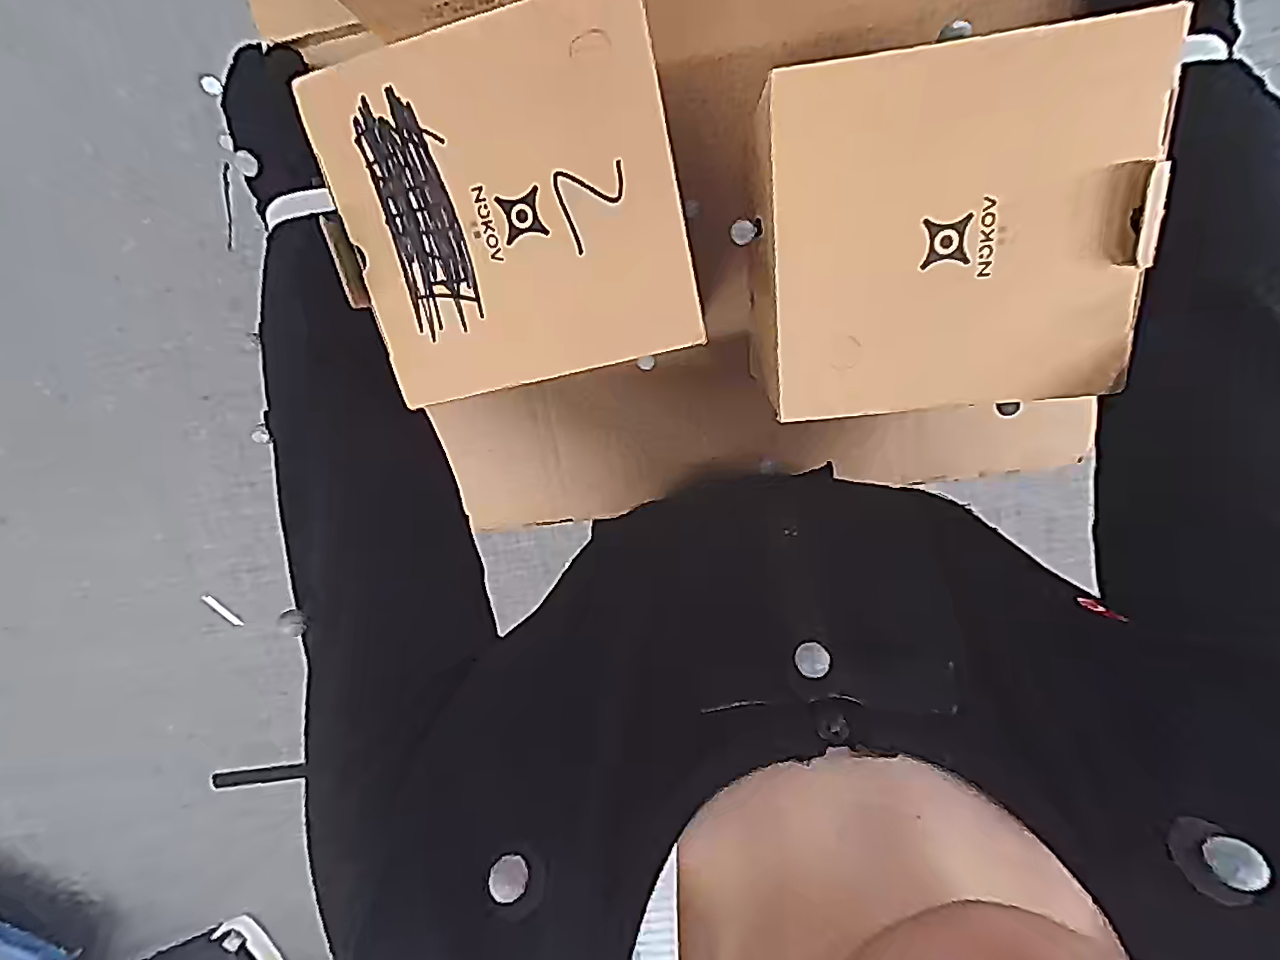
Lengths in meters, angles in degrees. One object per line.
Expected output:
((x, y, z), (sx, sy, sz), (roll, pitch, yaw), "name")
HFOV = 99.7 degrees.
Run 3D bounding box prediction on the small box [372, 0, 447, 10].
((-0.131, -0.393, 0.282), (0.168, 0.176, 0.179), (-8, 106, 7), "small box")
